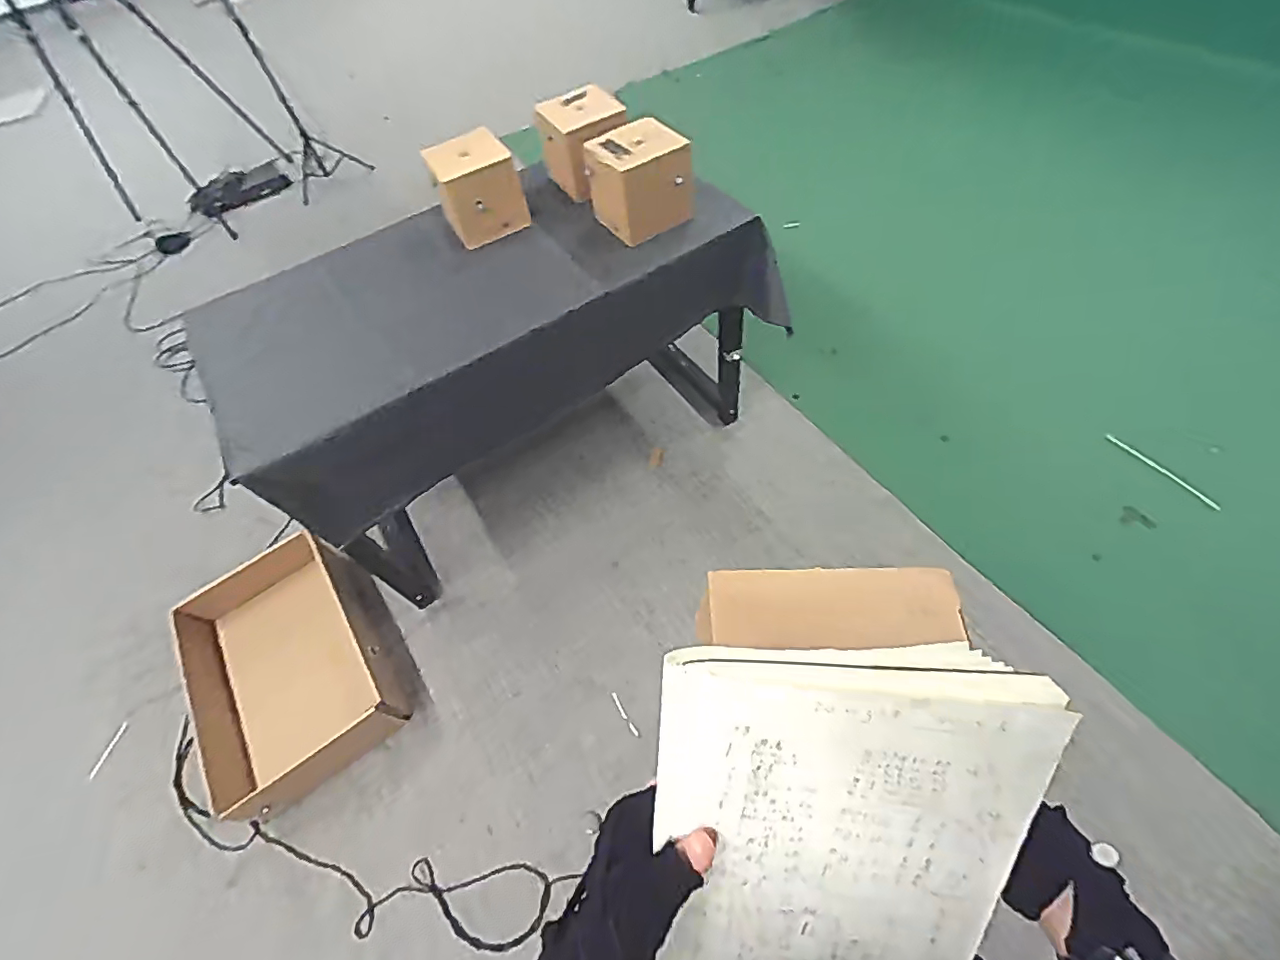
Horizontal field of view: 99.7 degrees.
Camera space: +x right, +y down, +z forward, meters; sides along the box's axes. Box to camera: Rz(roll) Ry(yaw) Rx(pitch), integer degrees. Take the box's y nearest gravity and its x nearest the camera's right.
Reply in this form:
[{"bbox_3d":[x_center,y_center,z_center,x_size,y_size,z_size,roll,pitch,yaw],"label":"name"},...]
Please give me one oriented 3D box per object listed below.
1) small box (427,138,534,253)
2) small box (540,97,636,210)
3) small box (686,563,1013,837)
[{"bbox_3d":[-0.372,-0.668,1.284,0.168,0.176,0.179,-28,57,-11],"label":"small box"},{"bbox_3d":[-0.124,-0.807,1.342,0.168,0.176,0.179,-28,58,-11],"label":"small box"},{"bbox_3d":[0.131,0.171,0.420,0.179,0.176,0.168,0,60,0],"label":"small box"}]
